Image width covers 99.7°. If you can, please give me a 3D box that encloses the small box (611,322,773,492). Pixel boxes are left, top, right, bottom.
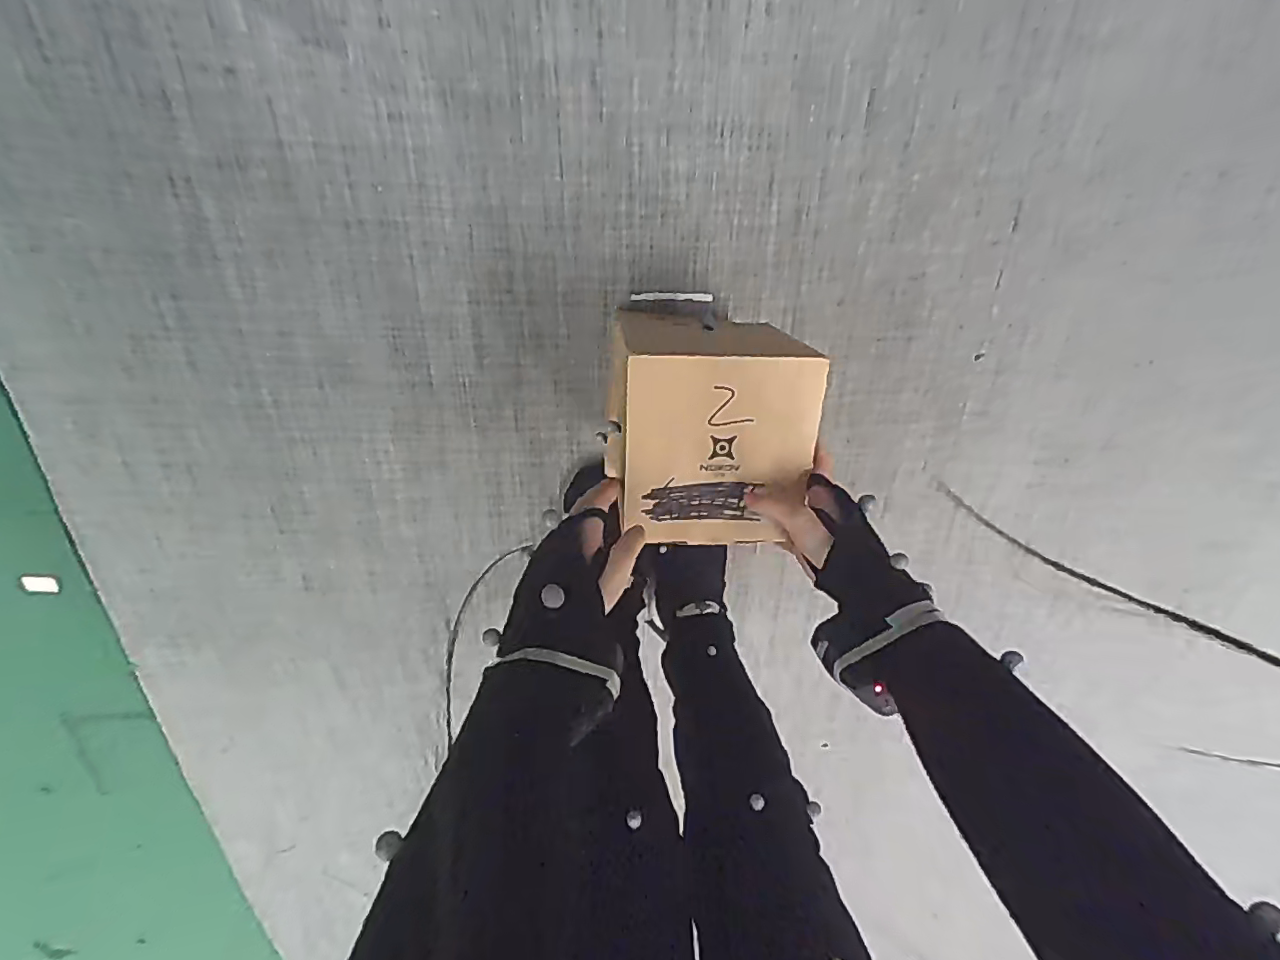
[{"bbox_3d":[0.053,-0.102,0.703,0.168,0.176,0.179,5,114,-7],"label":"small box"}]
